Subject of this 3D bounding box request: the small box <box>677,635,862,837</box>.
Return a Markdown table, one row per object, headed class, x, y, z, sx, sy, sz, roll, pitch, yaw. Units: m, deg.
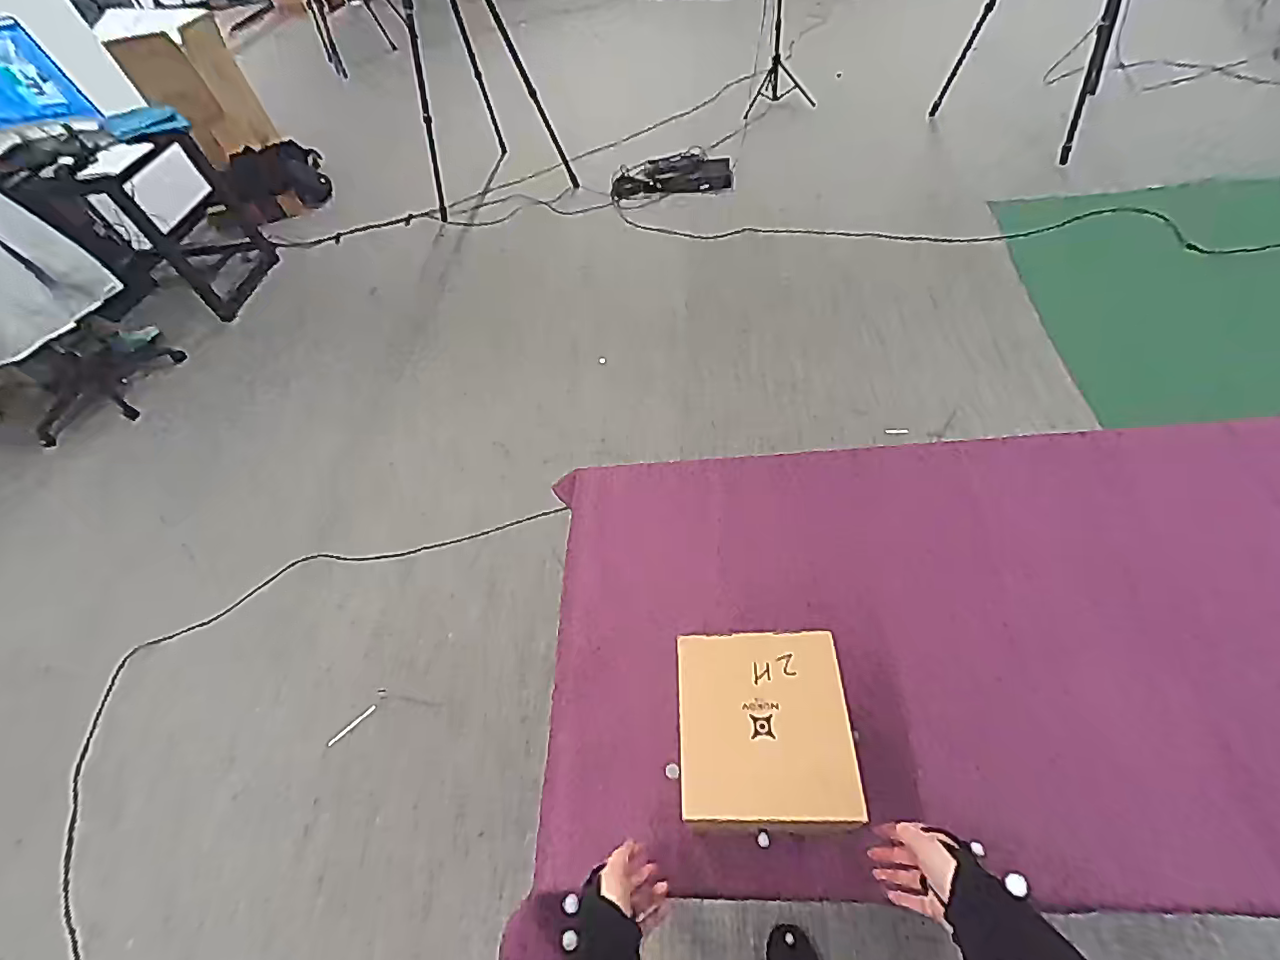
| class | x | y | z | sx | sy | sz | roll | pitch | yaw |
| --- | --- | --- | --- | --- | --- | --- | --- | --- | --- |
| small box | 0.130 | 0.286 | 0.597 | 0.168 | 0.176 | 0.179 | -3 | 53 | 6 |
